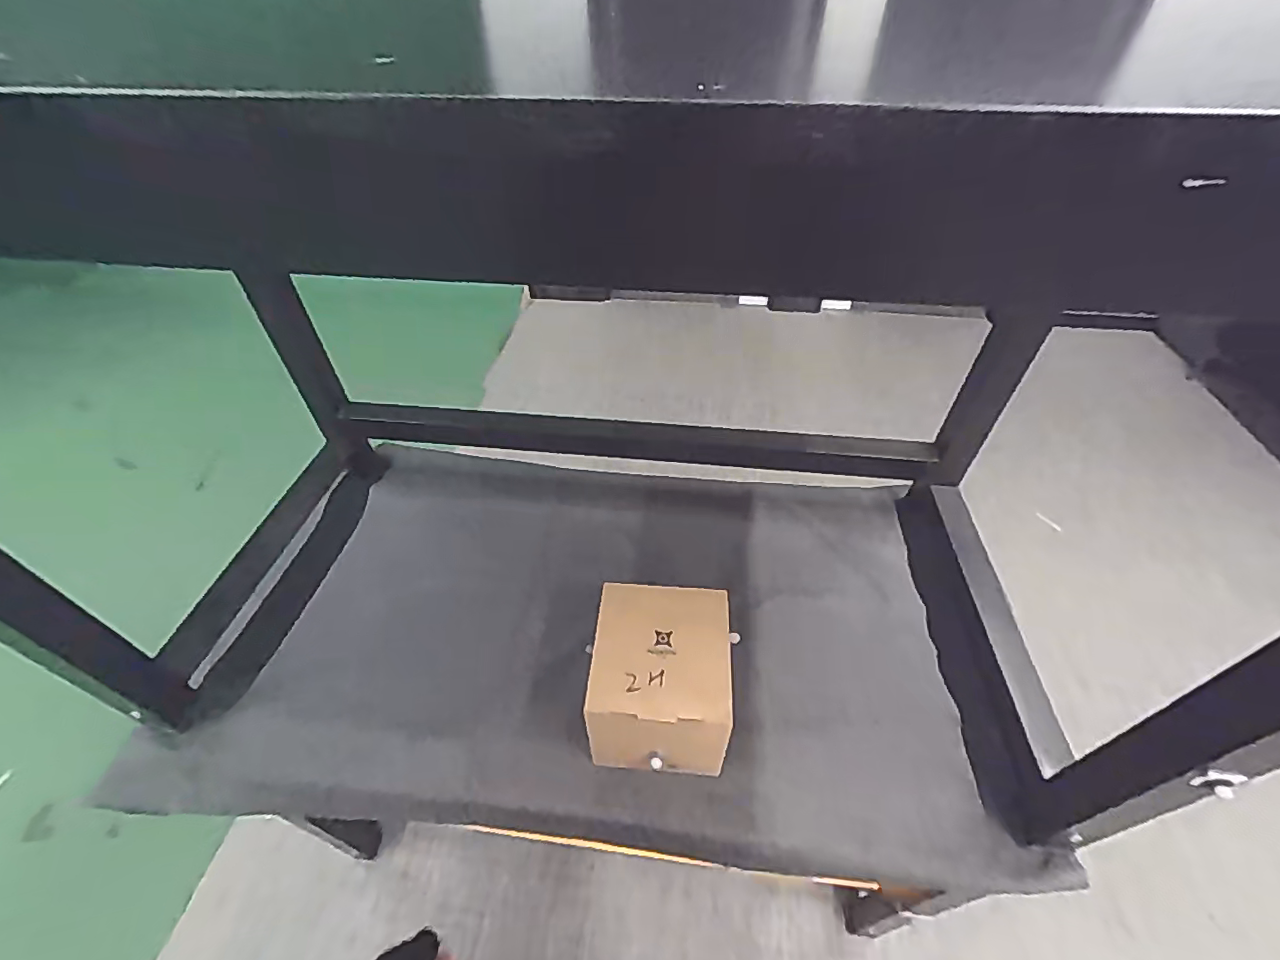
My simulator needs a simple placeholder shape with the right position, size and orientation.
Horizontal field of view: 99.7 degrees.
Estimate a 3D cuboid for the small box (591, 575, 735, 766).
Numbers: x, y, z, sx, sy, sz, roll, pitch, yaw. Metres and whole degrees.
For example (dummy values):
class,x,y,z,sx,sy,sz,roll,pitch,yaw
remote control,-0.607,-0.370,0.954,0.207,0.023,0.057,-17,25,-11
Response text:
class,x,y,z,sx,sy,sz,roll,pitch,yaw
small box,0.032,0.250,0.716,0.168,0.176,0.179,3,44,4
